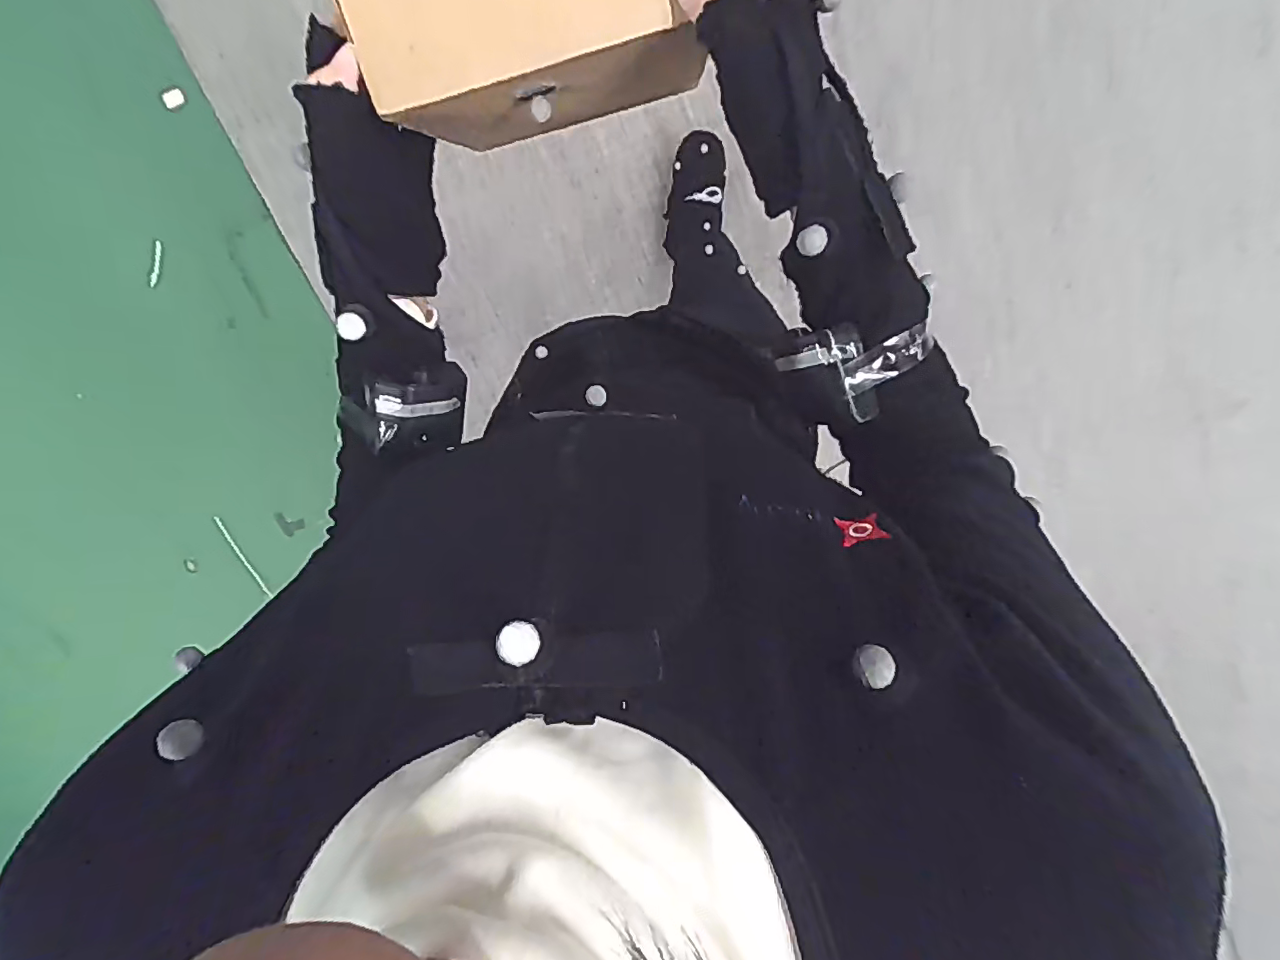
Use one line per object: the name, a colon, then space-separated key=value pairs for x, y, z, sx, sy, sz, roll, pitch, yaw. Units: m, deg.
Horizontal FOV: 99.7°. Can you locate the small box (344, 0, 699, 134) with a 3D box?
small box: x=-0.064 y=-0.316 z=0.302 sx=0.179 sy=0.176 sz=0.168 roll=-11 pitch=115 yaw=7
